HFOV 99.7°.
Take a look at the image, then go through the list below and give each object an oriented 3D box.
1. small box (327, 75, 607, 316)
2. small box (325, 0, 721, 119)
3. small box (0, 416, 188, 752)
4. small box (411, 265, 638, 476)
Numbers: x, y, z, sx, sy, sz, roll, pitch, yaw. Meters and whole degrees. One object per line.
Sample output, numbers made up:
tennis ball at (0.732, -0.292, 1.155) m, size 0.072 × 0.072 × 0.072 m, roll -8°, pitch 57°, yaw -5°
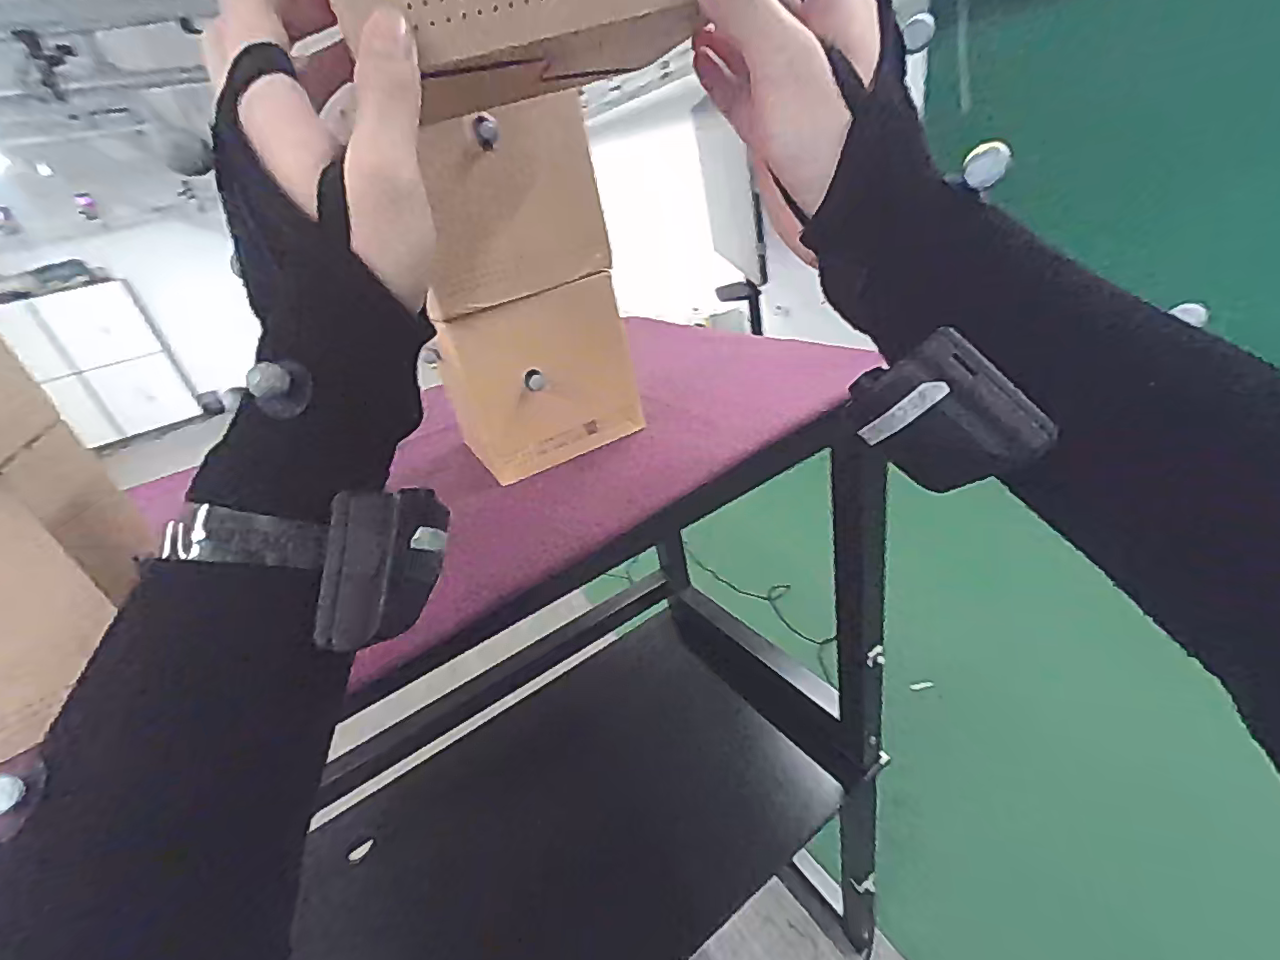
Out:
small box at (-0.155, -0.258, 0.498) m, size 0.179 × 0.176 × 0.168 m, roll -27°, pitch 31°, yaw -23°
small box at (-0.072, -0.285, 0.248) m, size 0.179 × 0.176 × 0.168 m, roll -21°, pitch 31°, yaw -8°
small box at (-0.453, 0.080, 0.358) m, size 0.179 × 0.176 × 0.168 m, roll -29°, pitch 32°, yaw -27°
small box at (-0.121, -0.122, 0.582) m, size 0.168 × 0.176 × 0.179 m, roll -26°, pitch 29°, yaw -20°
